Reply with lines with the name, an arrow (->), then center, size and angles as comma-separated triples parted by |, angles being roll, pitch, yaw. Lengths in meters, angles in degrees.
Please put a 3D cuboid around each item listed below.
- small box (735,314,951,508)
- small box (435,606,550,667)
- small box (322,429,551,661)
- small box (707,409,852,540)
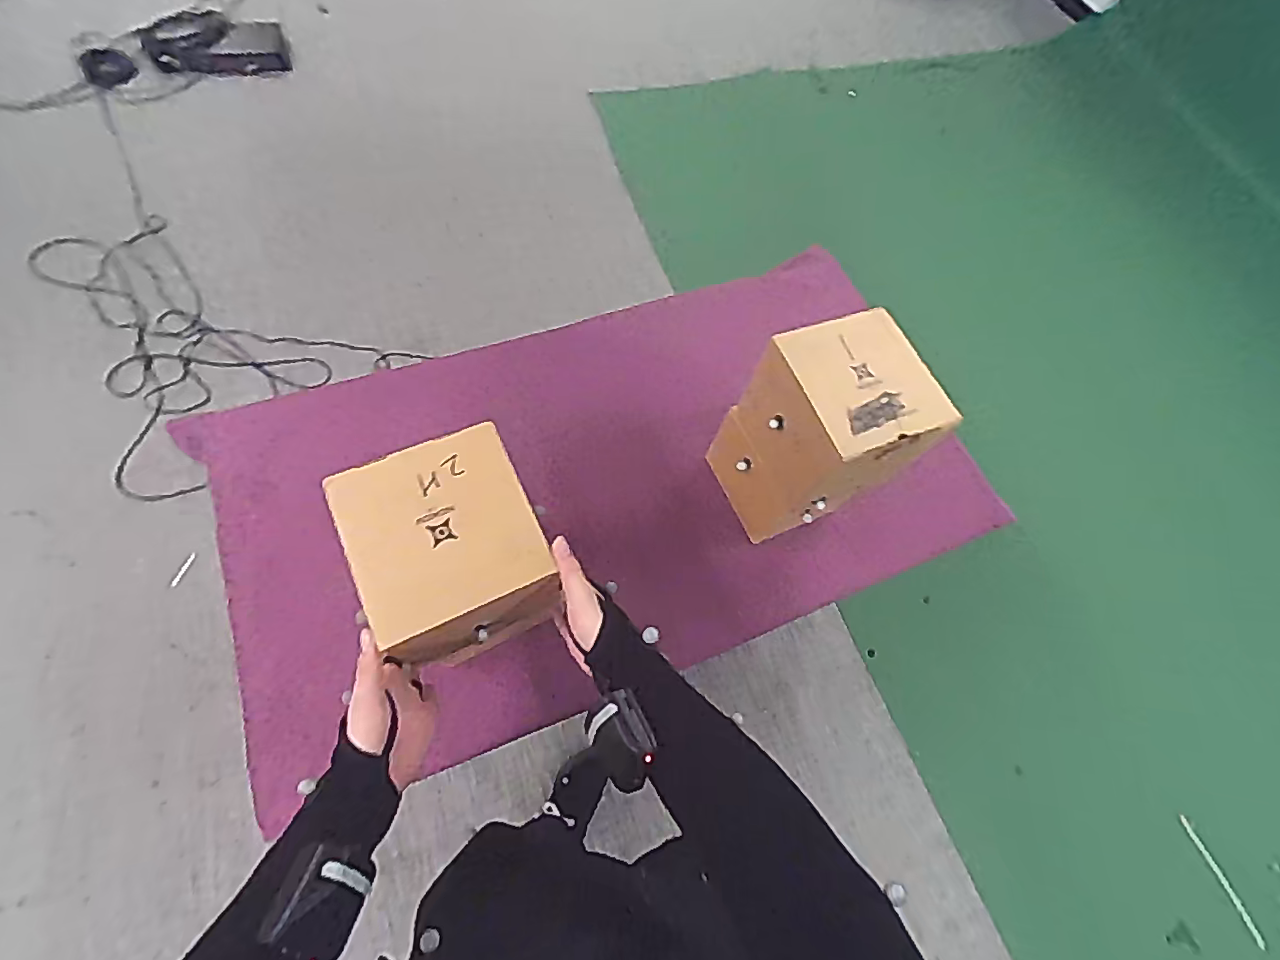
small box -> 0.245, -0.078, 0.702 | 0.168, 0.176, 0.179 | -17, 68, -14
small box -> -0.232, 0.132, 0.732 | 0.168, 0.176, 0.179 | -24, 71, -16
small box -> -0.200, 0.079, 0.576 | 0.168, 0.176, 0.179 | -22, 71, -17
small box -> 0.225, -0.019, 0.854 | 0.168, 0.176, 0.179 | -20, 69, -14
